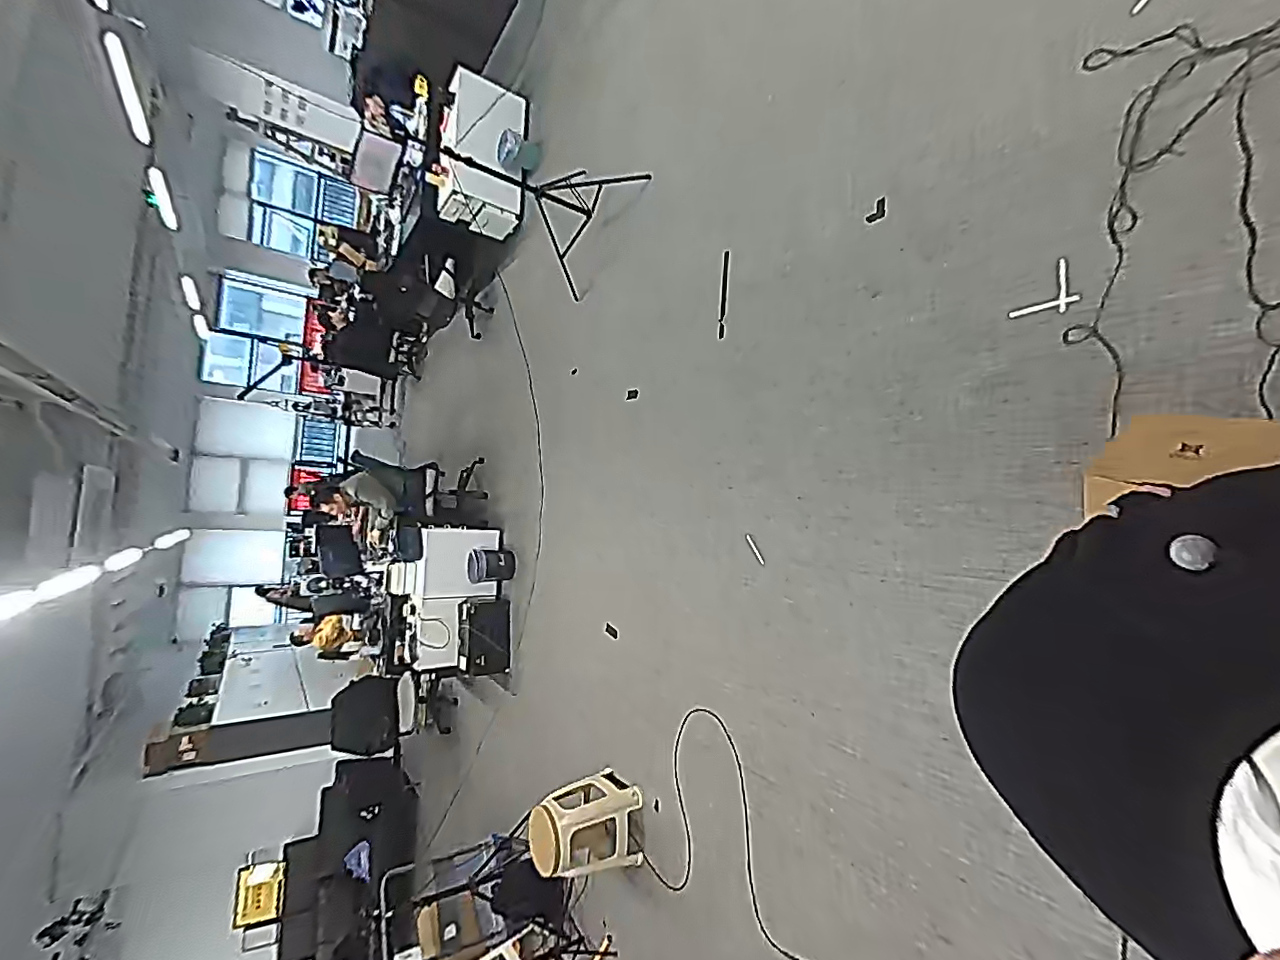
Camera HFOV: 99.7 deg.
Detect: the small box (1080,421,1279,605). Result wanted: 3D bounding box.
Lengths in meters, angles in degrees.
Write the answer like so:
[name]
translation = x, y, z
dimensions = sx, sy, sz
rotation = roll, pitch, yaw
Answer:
[small box]
translation = 0.733, 0.039, 0.733
dimensions = 0.168, 0.179, 0.176
rotation = 19, 136, 54
